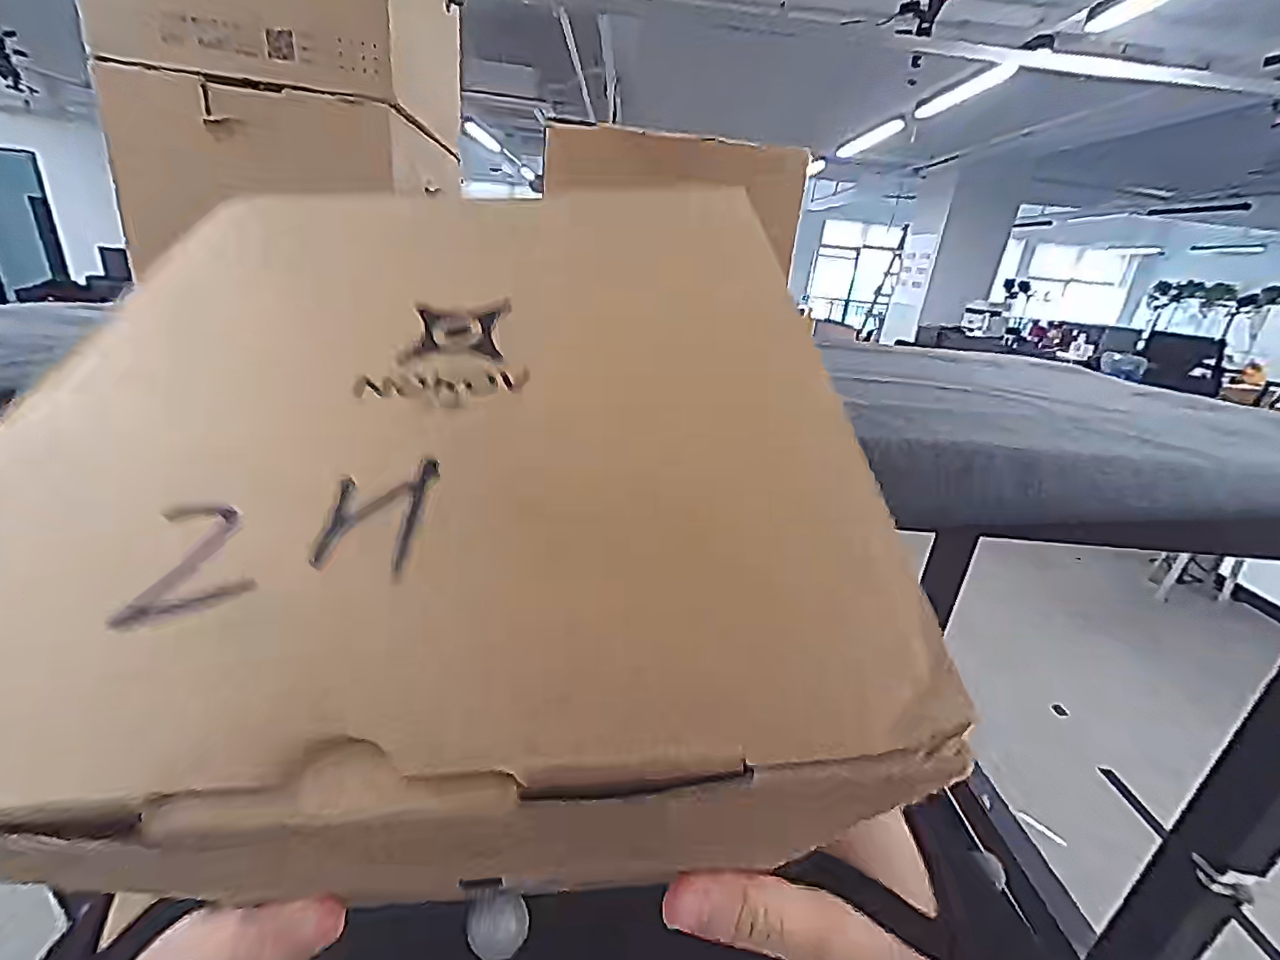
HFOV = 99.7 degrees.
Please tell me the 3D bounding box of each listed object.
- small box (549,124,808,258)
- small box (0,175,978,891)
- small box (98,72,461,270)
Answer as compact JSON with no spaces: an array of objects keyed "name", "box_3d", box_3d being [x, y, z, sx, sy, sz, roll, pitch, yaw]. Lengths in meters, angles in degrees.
[{"name":"small box","box_3d":[0.015,-0.159,0.437,0.168,0.176,0.179,4,20,-3]},{"name":"small box","box_3d":[-0.041,0.021,0.183,0.168,0.176,0.179,-3,51,-2]},{"name":"small box","box_3d":[-0.240,-0.178,0.419,0.168,0.176,0.179,5,20,-5]}]
